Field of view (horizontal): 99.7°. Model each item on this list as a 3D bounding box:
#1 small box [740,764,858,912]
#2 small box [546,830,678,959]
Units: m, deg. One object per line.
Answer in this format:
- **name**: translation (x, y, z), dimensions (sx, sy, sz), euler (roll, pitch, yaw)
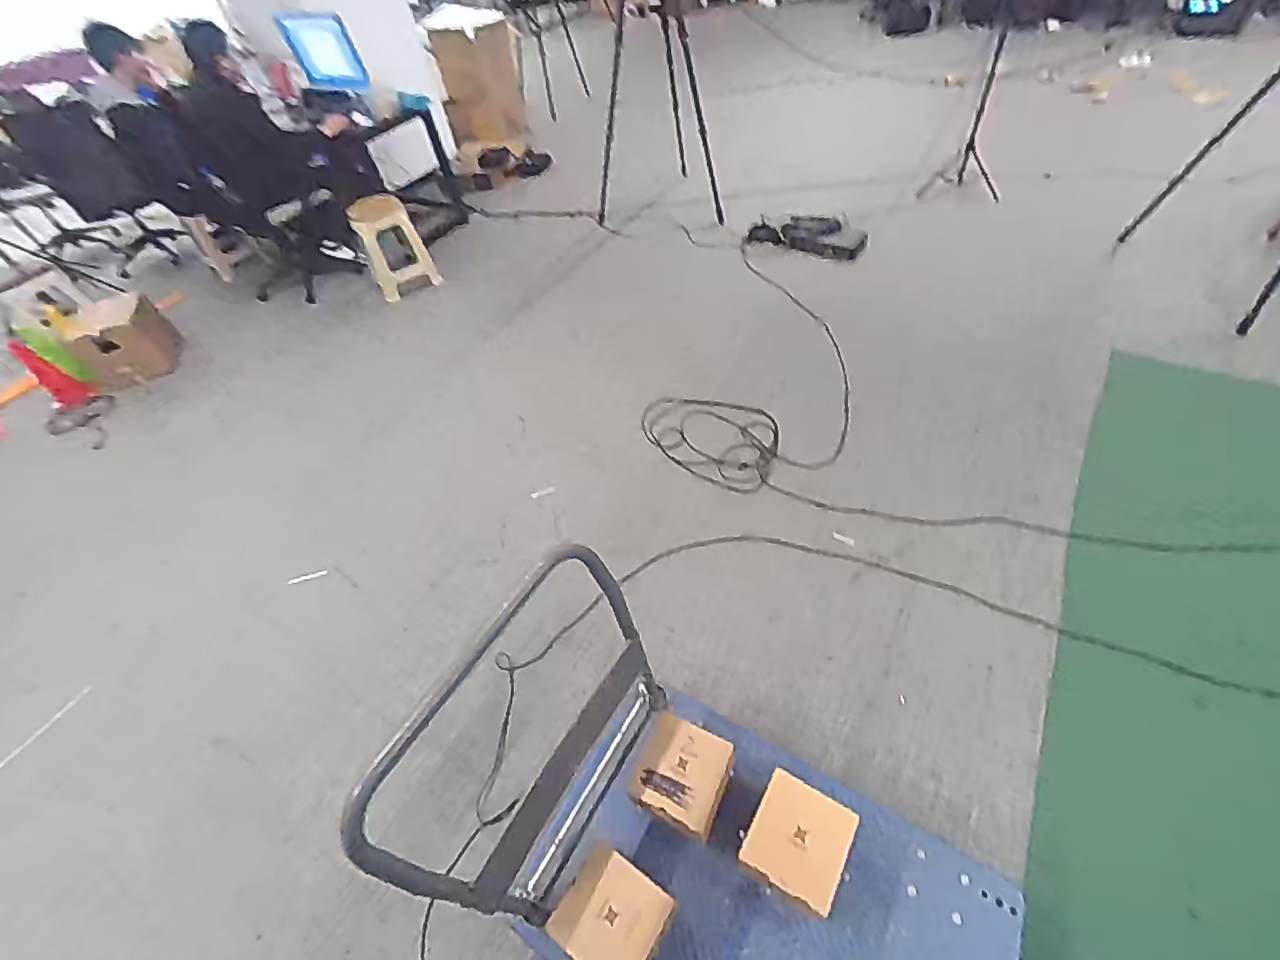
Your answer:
- **small box**: translation (0.303, 0.700, 1.060), dimensions (0.168, 0.176, 0.179), euler (22, 58, 25)
- **small box**: translation (-0.045, 0.808, 1.019), dimensions (0.179, 0.176, 0.168), euler (25, 58, 26)
